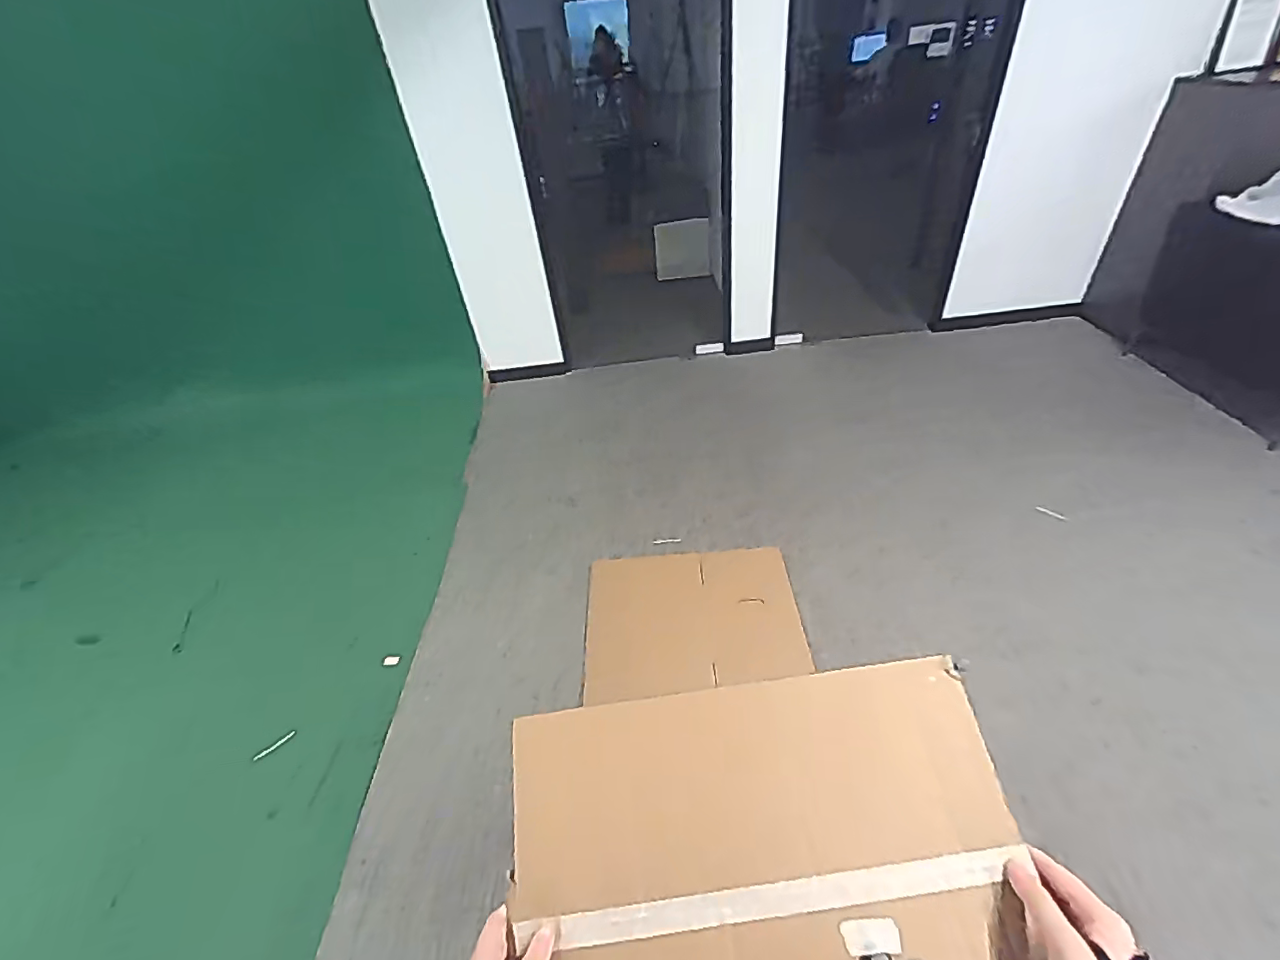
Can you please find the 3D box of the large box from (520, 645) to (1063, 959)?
[{"bbox_3d":[0.112,0.385,0.560,0.408,0.320,0.320,-8,63,-1],"label":"large box"}]
